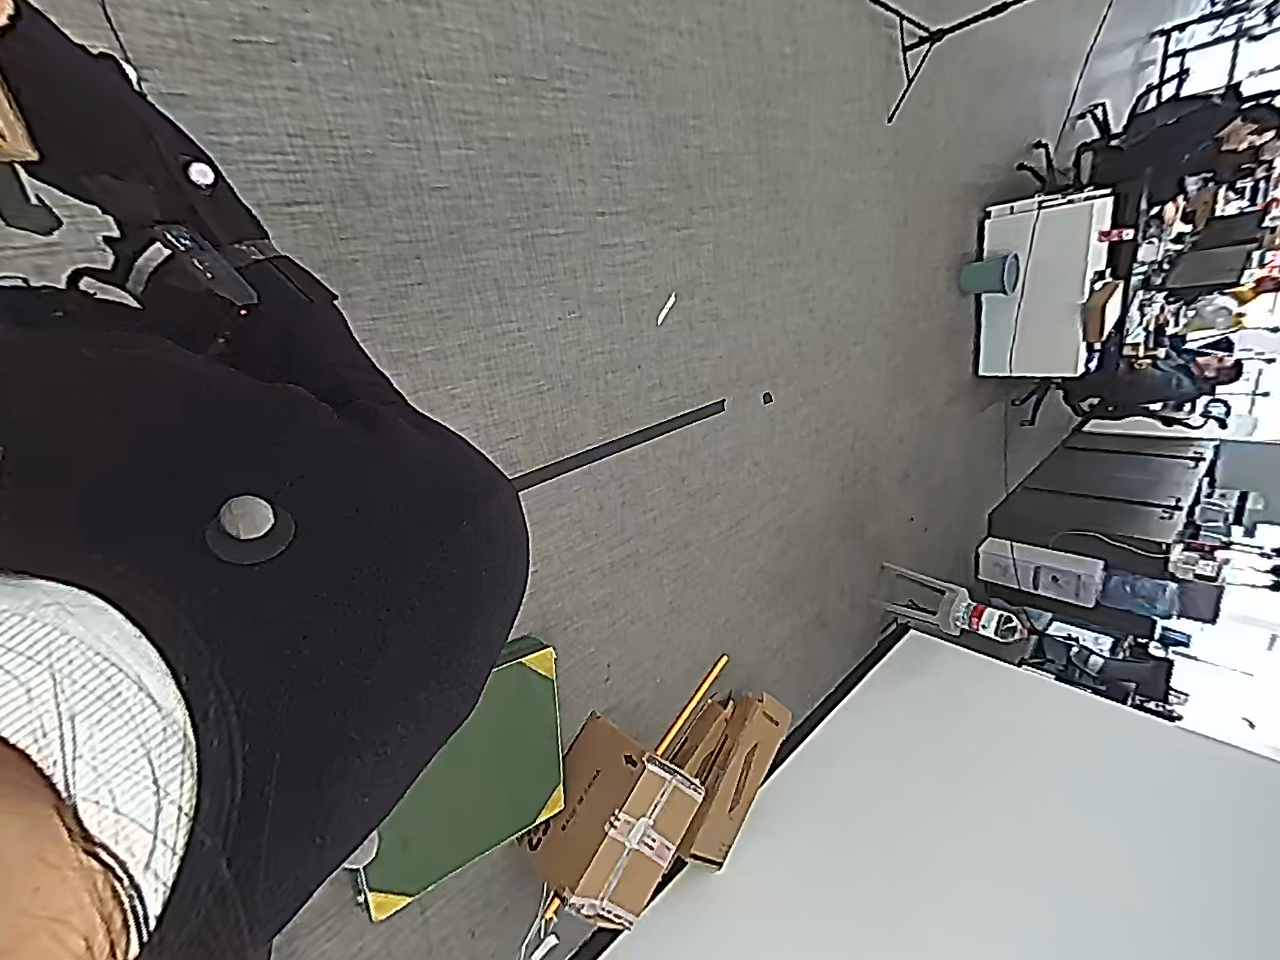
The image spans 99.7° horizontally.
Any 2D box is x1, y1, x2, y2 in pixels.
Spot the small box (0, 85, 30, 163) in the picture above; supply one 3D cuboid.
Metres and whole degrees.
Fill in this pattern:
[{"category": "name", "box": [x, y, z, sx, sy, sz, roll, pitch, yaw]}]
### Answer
[{"category": "small box", "box": [-0.351, -0.198, 0.162, 0.176, 0.168, 0.179, -24, 127, -35]}]
